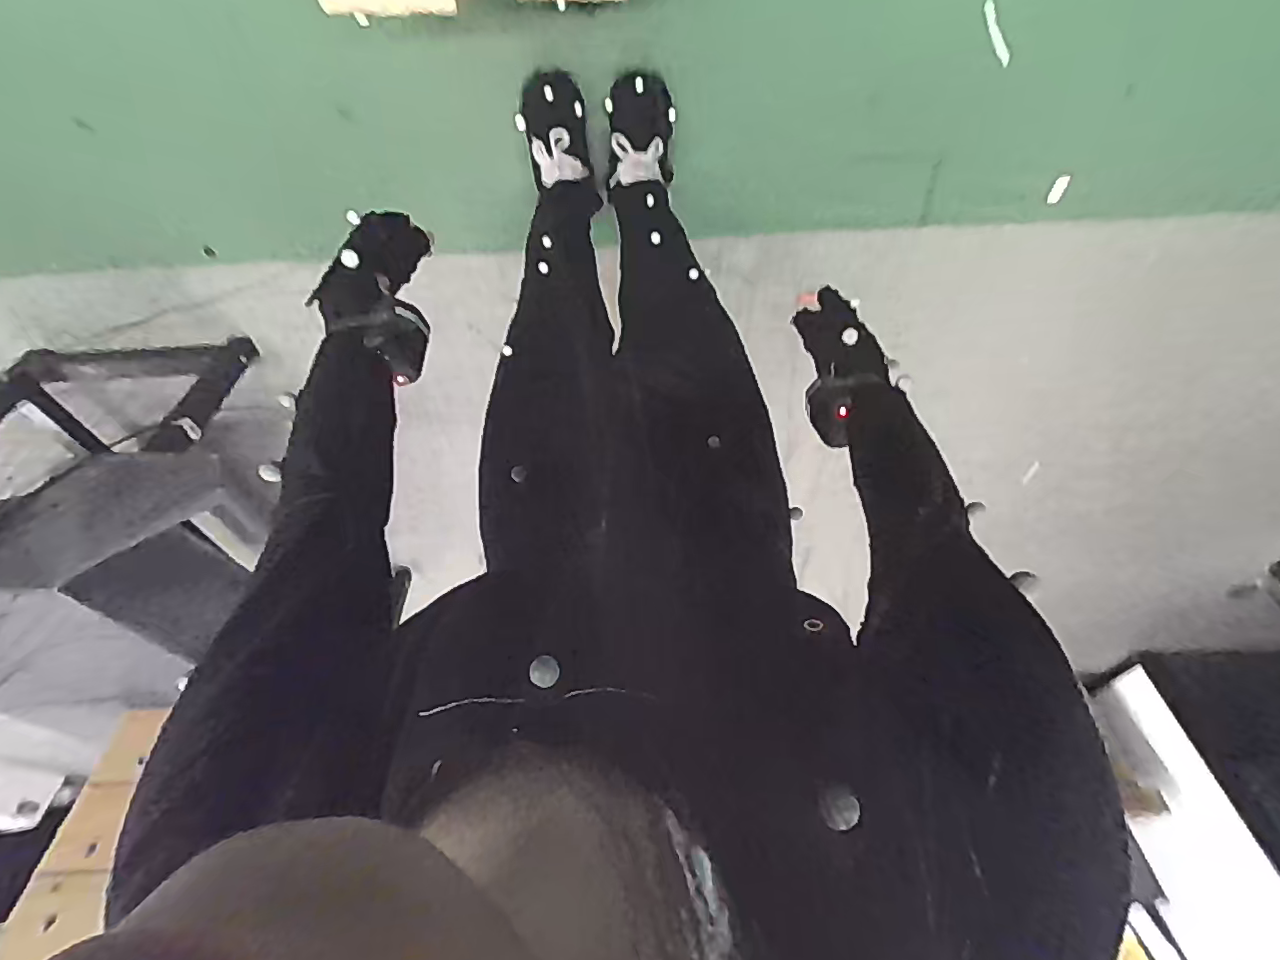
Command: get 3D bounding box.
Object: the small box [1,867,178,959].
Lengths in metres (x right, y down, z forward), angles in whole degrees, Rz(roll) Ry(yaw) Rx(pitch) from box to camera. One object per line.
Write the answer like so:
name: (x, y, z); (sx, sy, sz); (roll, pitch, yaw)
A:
small box: (-1.121, 0.903, 1.108); (0.168, 0.176, 0.179); (-2, 139, 0)

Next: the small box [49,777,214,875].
small box: (-1.128, 0.781, 1.219); (0.179, 0.176, 0.168); (-3, 139, 1)

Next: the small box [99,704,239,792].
small box: (-1.133, 0.660, 1.326); (0.179, 0.176, 0.168); (-3, 139, 2)
